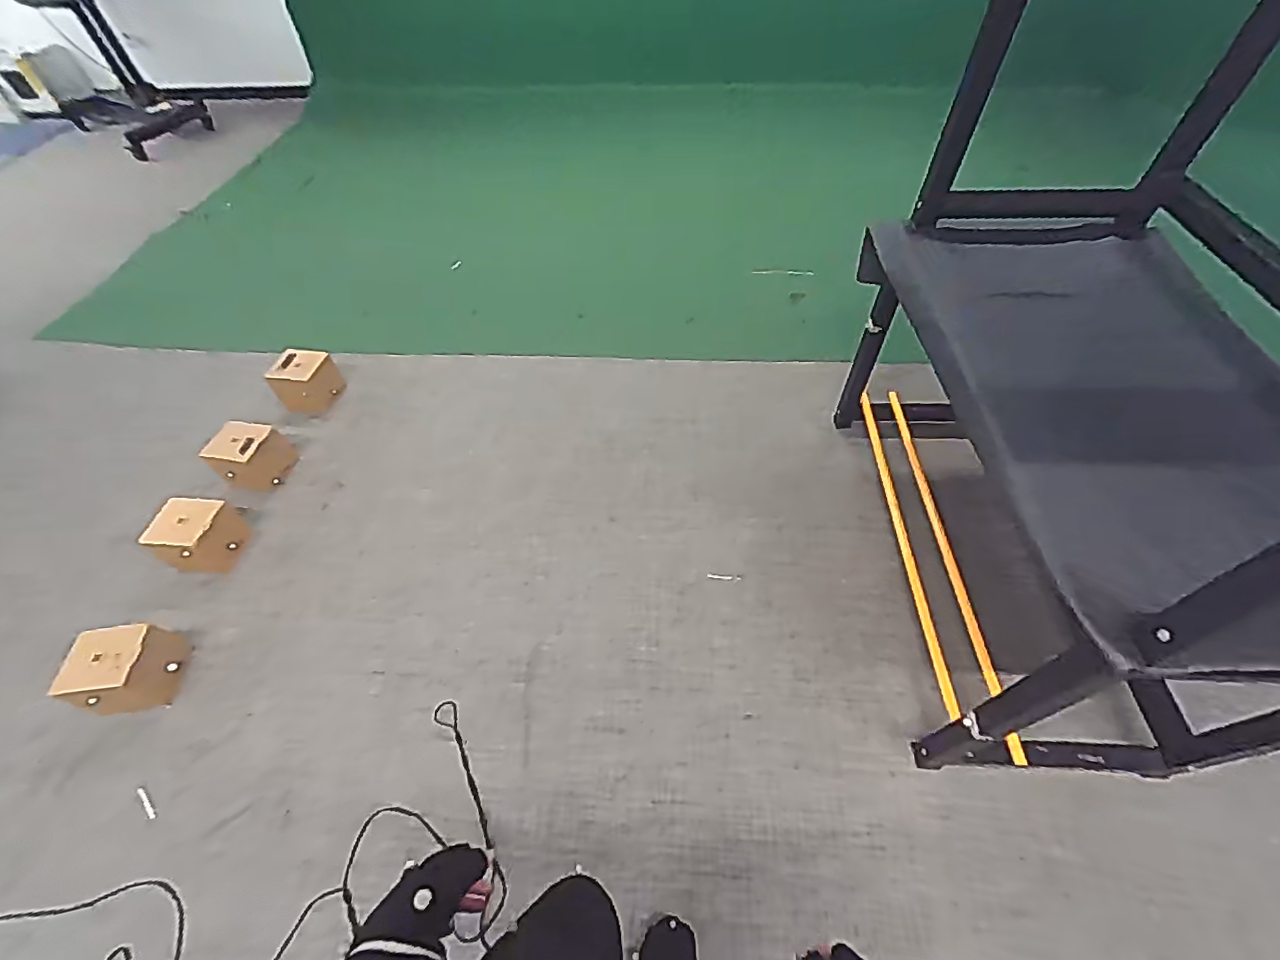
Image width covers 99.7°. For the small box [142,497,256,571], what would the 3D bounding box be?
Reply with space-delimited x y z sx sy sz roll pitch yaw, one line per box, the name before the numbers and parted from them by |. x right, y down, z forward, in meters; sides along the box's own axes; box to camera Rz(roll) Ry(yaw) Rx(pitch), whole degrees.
small box | -1.345 0.169 1.664 0.179 0.176 0.168 3 53 3

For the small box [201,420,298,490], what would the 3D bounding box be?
small box | -1.328 -0.081 1.855 0.179 0.176 0.168 7 52 8

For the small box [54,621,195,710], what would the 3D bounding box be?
small box | -1.334 0.489 1.414 0.179 0.176 0.168 -7 53 -3
